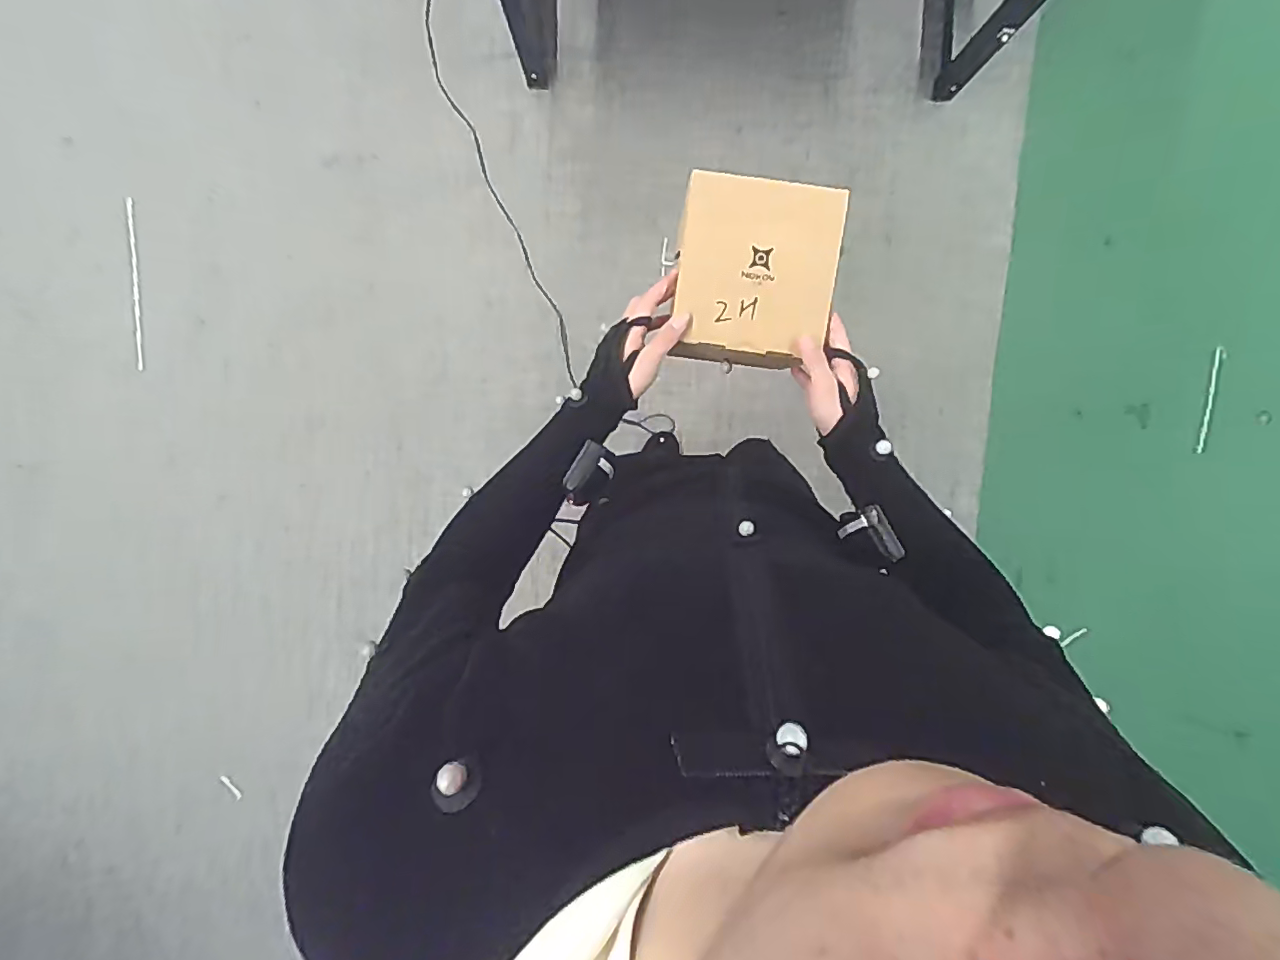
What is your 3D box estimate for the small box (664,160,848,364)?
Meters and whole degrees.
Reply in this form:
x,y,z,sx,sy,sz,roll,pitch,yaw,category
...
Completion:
x,y,z,sx,sy,sz,roll,pitch,yaw,category
0.122,-0.242,0.644,0.168,0.176,0.179,8,98,-1,small box
